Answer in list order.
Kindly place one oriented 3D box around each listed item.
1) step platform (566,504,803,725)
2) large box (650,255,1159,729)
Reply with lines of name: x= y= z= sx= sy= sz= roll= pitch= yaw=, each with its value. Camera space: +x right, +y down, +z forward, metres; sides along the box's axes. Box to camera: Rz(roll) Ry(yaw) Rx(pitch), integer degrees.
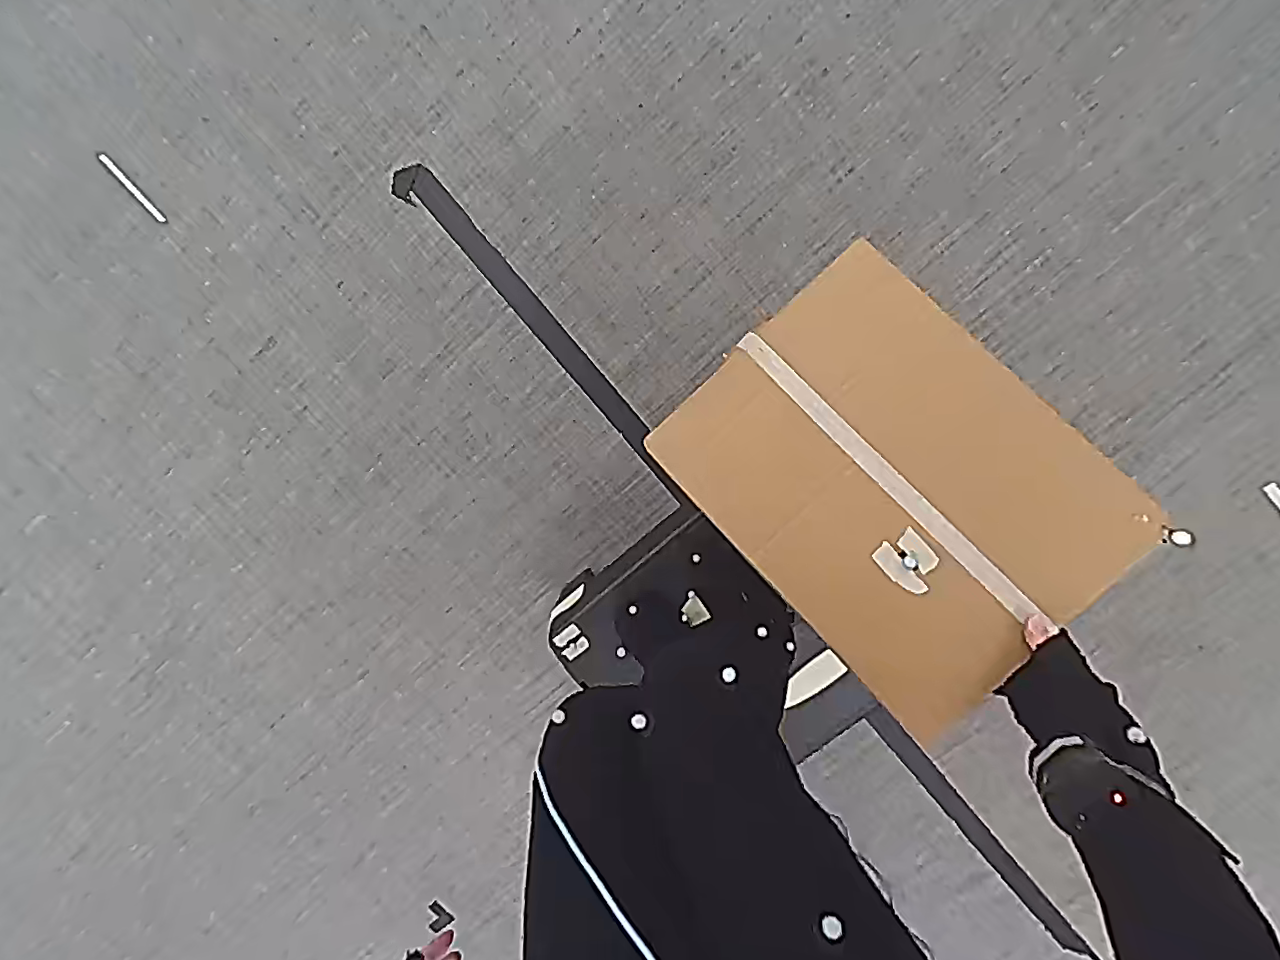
step platform: x=0.184 y=0.132 z=1.002 sx=0.684 sy=0.204 sz=0.286 roll=-43 pitch=97 yaw=9
large box: x=0.271 y=0.012 z=0.696 sx=0.320 sy=0.320 sz=0.408 roll=-44 pitch=82 yaw=5
